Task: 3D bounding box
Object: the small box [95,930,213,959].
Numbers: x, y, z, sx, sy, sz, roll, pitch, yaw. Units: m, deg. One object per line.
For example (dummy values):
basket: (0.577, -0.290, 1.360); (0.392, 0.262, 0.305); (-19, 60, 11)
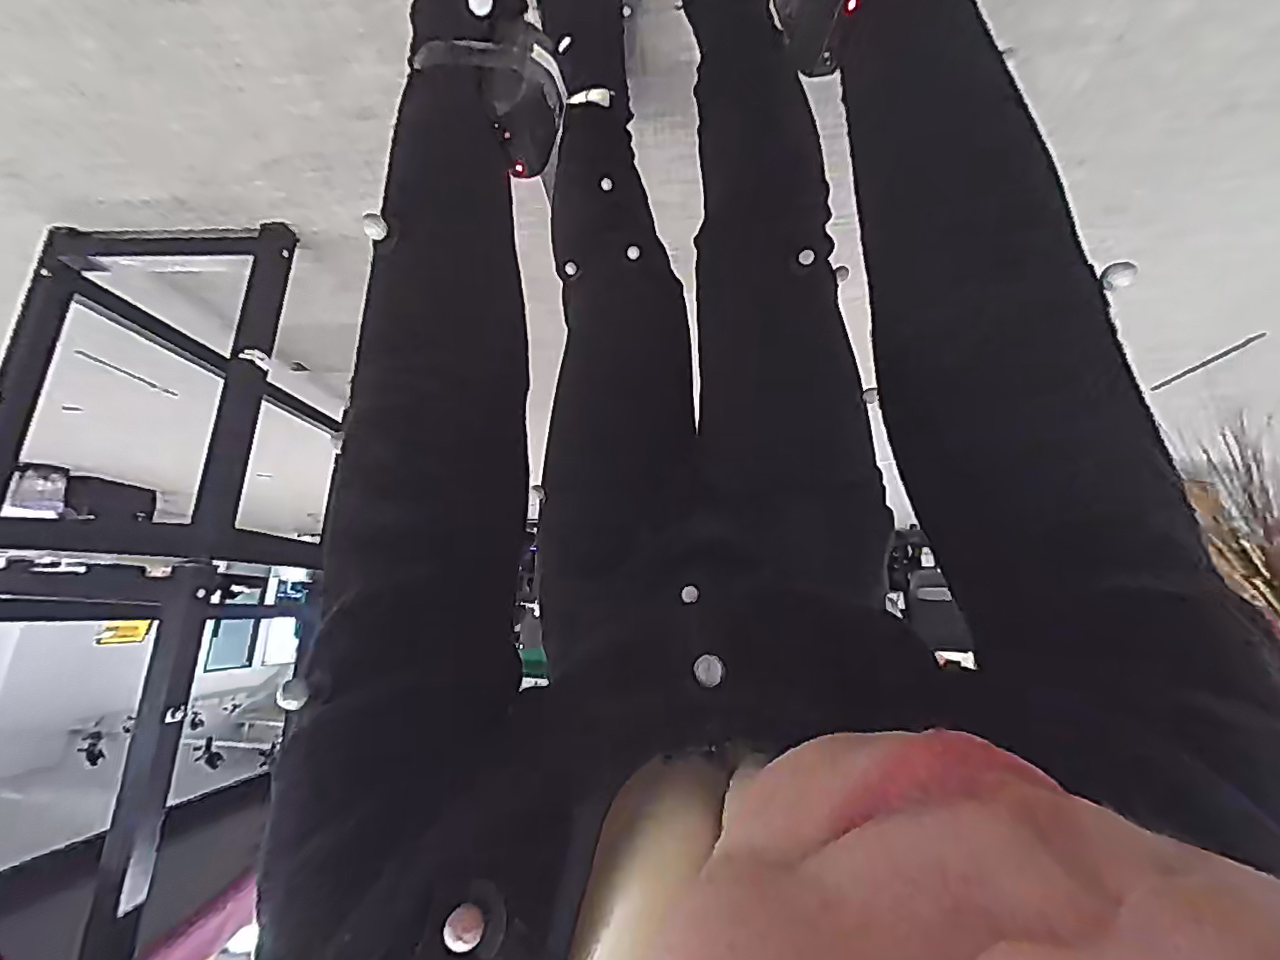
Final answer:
small box: (-0.933, 0.965, 0.984); (0.168, 0.176, 0.179); (4, 168, -1)
